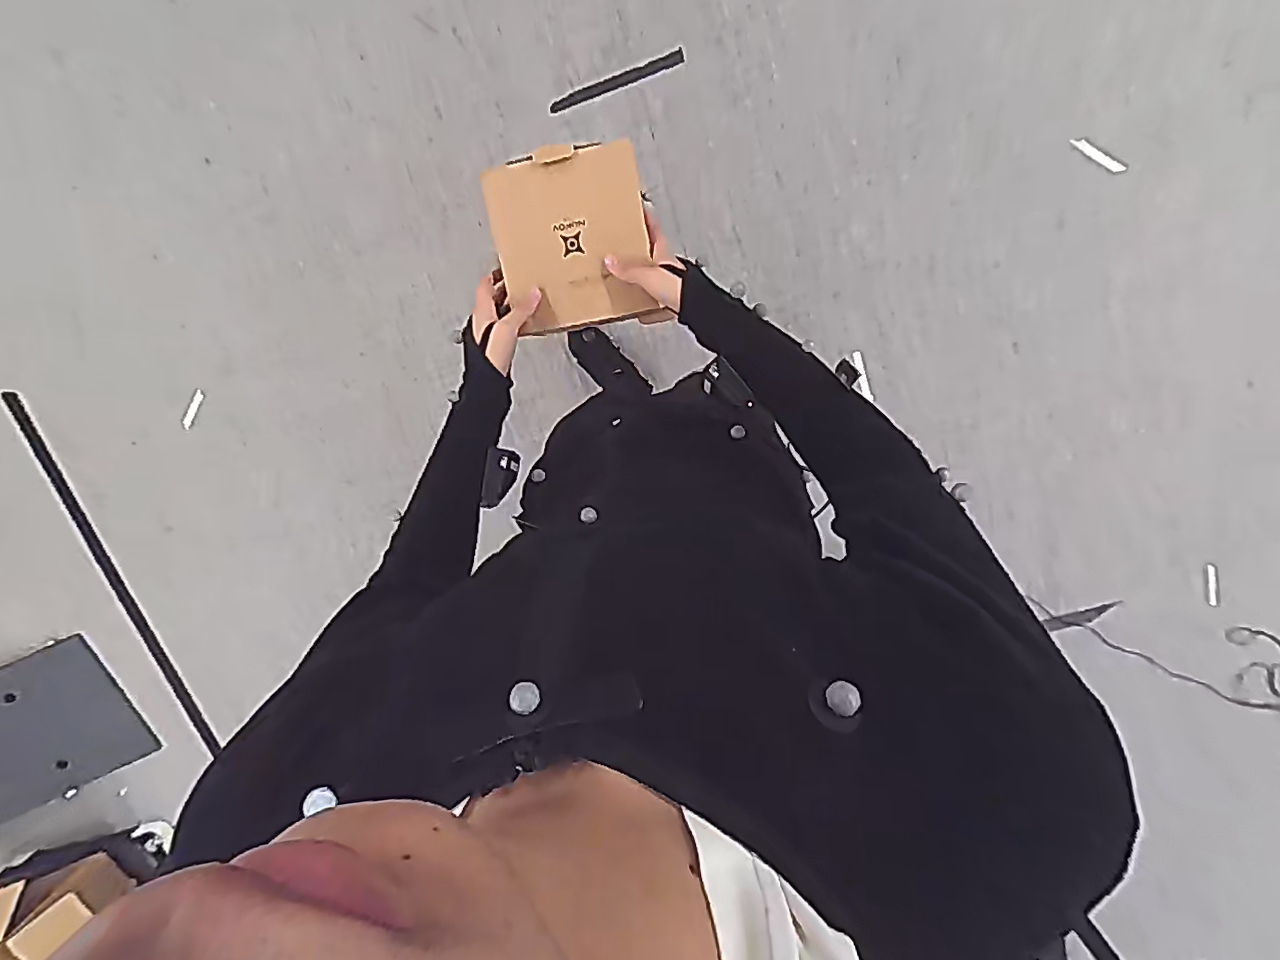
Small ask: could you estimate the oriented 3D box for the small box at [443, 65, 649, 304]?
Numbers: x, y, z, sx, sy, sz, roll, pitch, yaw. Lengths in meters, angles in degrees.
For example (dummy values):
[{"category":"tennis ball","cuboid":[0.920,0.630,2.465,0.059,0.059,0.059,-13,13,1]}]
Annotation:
[{"category":"small box","cuboid":[-0.085,-0.298,0.587,0.168,0.176,0.179,-10,105,5]}]
